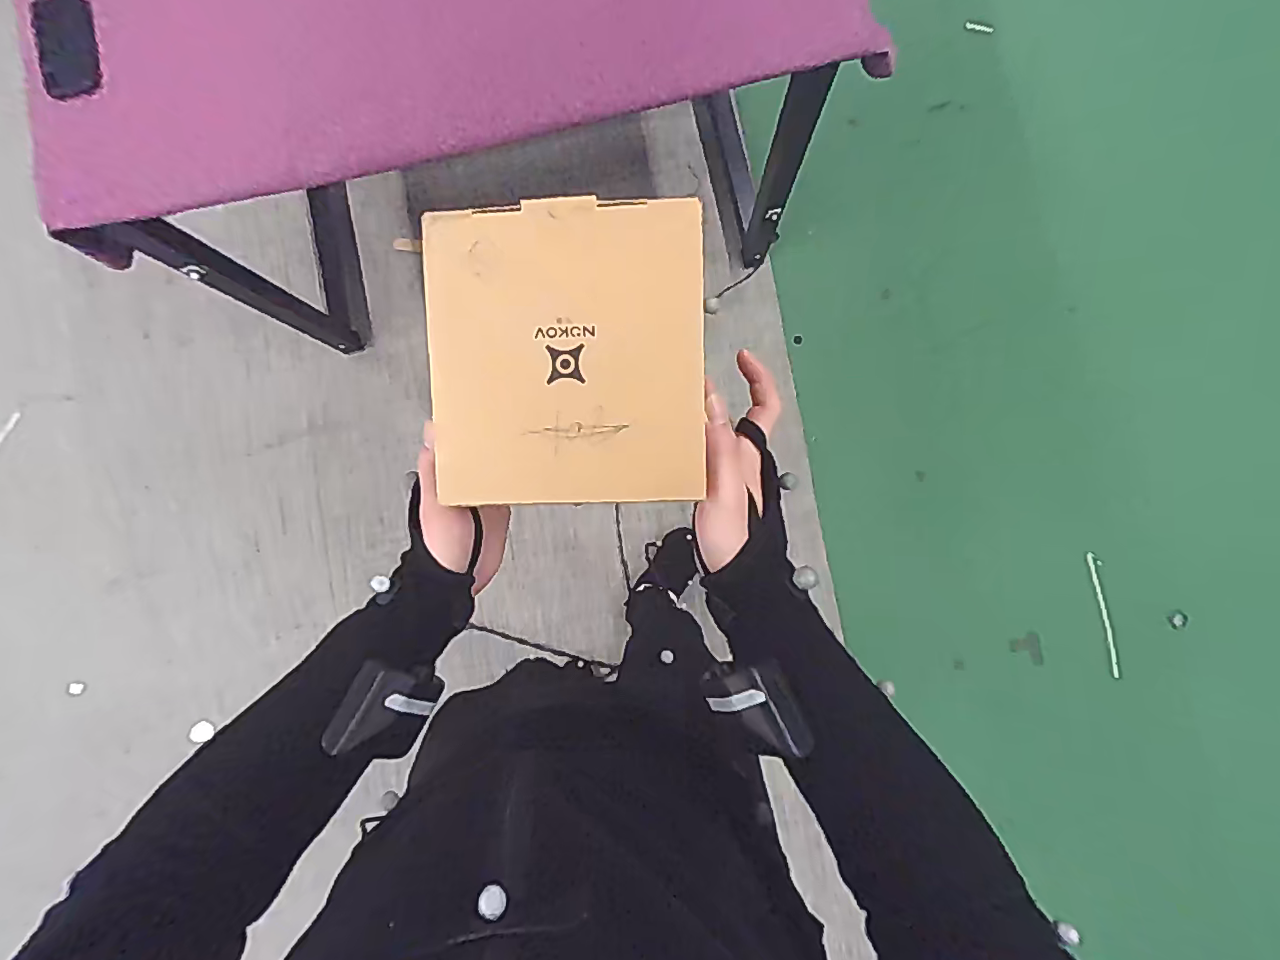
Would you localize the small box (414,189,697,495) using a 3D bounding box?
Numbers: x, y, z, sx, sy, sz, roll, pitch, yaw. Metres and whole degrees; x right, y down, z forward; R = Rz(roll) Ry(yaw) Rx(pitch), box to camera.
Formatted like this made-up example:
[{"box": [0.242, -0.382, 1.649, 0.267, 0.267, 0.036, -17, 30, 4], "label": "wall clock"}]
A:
[{"box": [-0.045, -0.085, 0.397, 0.168, 0.176, 0.179, -1, 96, 4], "label": "small box"}]
